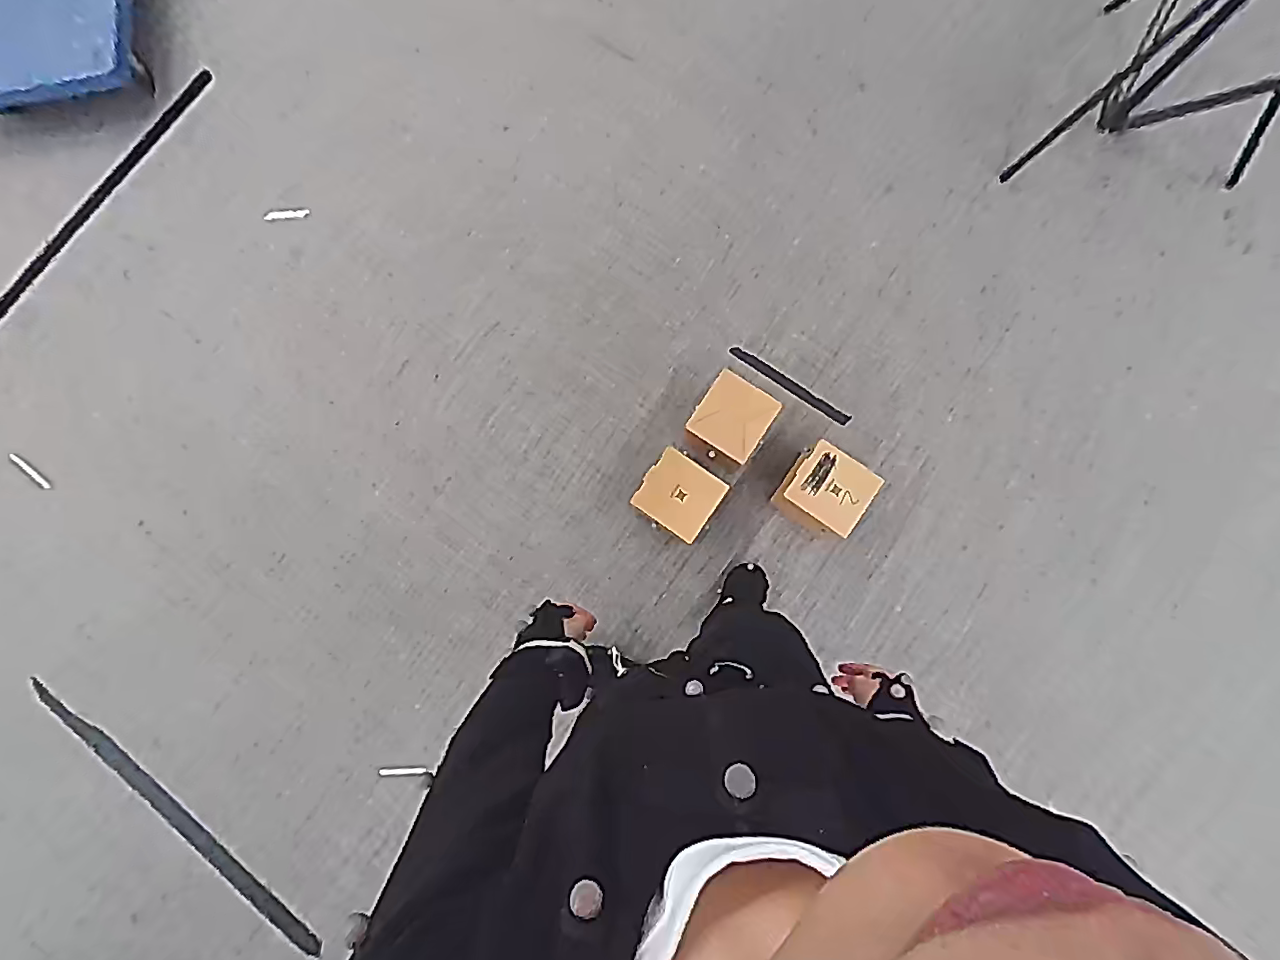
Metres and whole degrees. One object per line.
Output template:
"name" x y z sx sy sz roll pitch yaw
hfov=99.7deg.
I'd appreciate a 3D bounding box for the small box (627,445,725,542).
"small box" 0.089 0.038 1.343 0.179 0.176 0.168 35 86 7
